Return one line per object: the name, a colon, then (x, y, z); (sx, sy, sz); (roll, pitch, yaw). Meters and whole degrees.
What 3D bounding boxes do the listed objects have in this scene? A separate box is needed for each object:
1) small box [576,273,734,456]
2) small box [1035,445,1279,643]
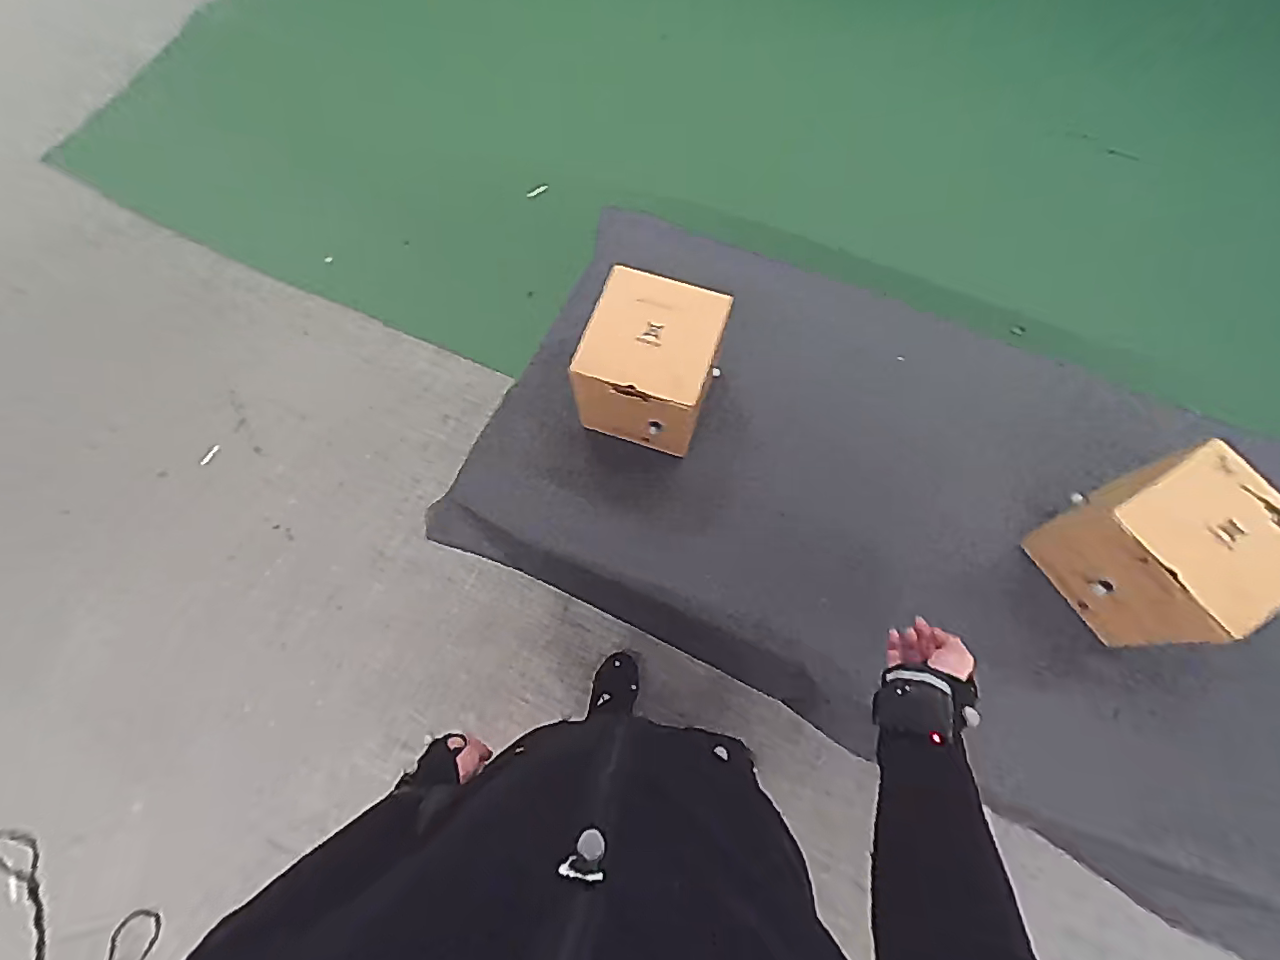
small box: (0.022, -0.155, 0.776); (0.168, 0.176, 0.179); (18, 71, 6)
small box: (0.647, 0.090, 0.676); (0.179, 0.176, 0.168); (-30, 73, -8)
